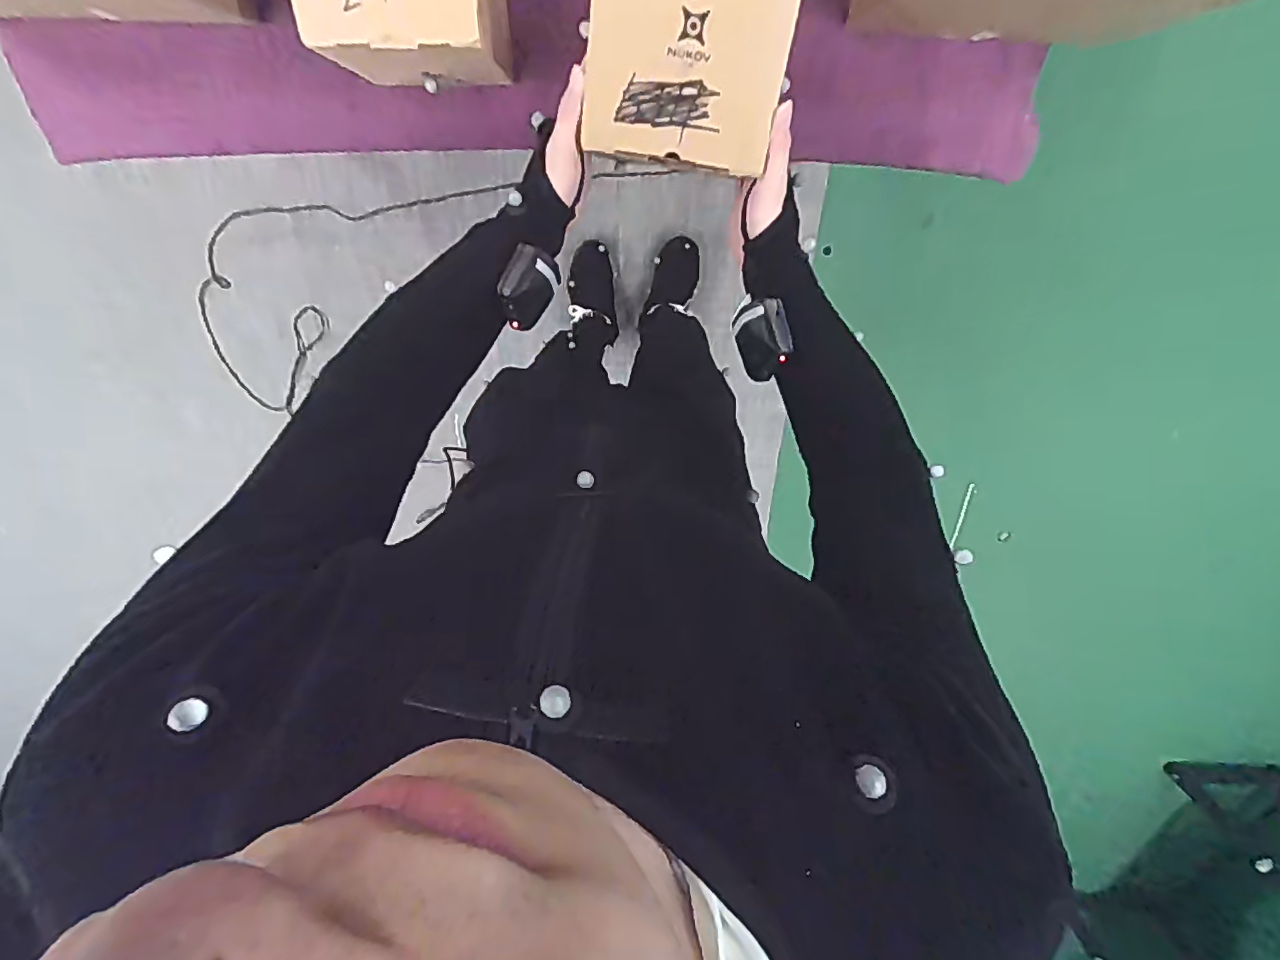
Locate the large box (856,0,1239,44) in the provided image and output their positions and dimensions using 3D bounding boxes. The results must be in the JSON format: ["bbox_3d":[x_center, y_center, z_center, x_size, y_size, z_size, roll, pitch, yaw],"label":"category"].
[{"bbox_3d":[0.408,-0.629,0.415,0.320,0.320,0.408,1,118,-2],"label":"large box"}]

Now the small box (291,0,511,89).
[{"bbox_3d":[-0.227,-0.505,0.525,0.168,0.176,0.179,-1,116,-2],"label":"small box"}]

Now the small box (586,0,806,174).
[{"bbox_3d":[0.045,-0.395,0.503,0.168,0.176,0.179,6,118,-5],"label":"small box"}]
